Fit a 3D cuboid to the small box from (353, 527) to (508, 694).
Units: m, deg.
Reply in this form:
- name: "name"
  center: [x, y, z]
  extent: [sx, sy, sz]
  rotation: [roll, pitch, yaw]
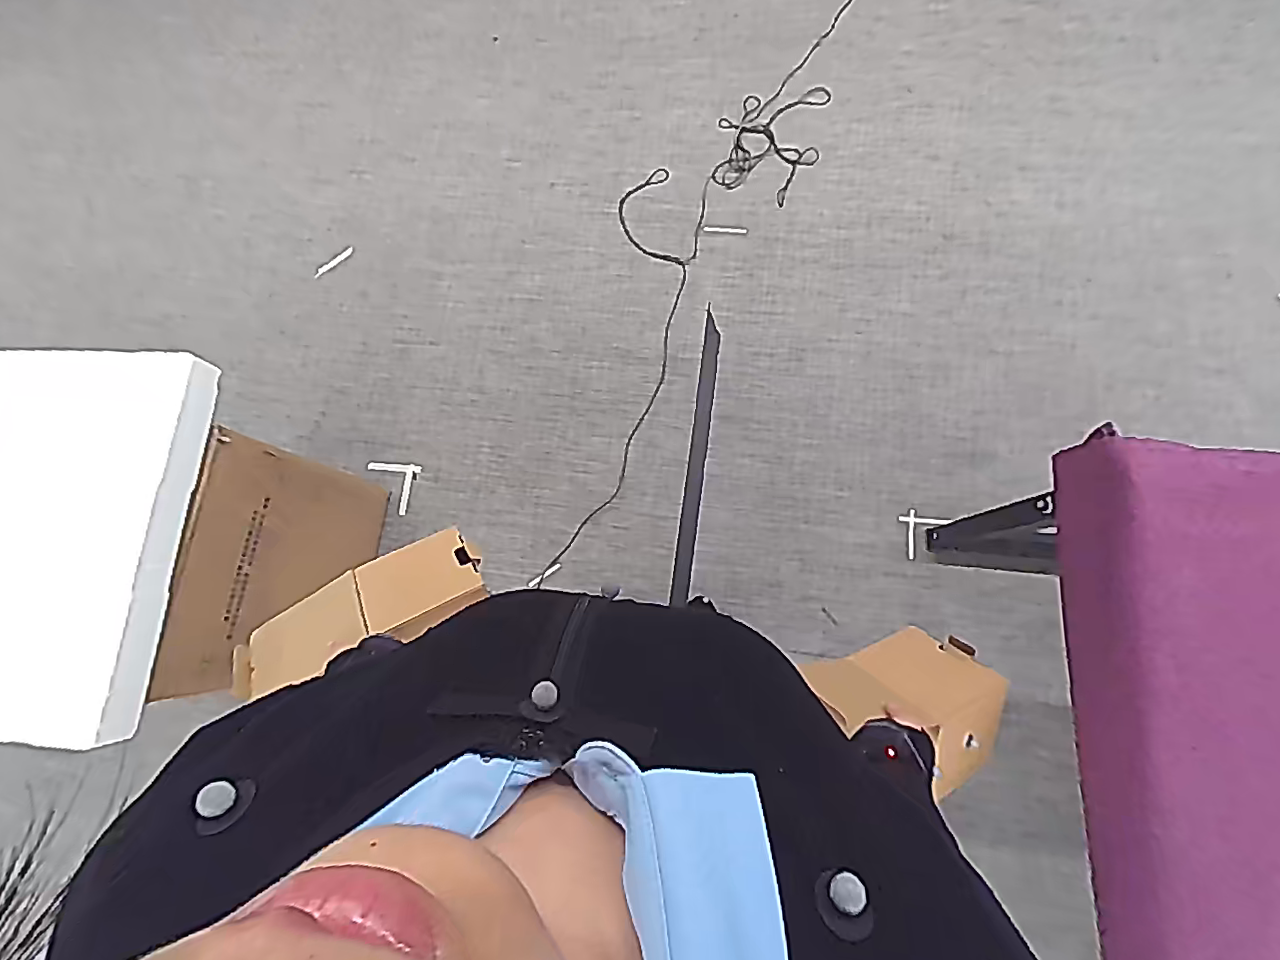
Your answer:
- name: "small box"
  center: [-0.343, 0.216, 0.897]
  extent: [0.179, 0.176, 0.168]
  rotation: [-25, 42, -20]
